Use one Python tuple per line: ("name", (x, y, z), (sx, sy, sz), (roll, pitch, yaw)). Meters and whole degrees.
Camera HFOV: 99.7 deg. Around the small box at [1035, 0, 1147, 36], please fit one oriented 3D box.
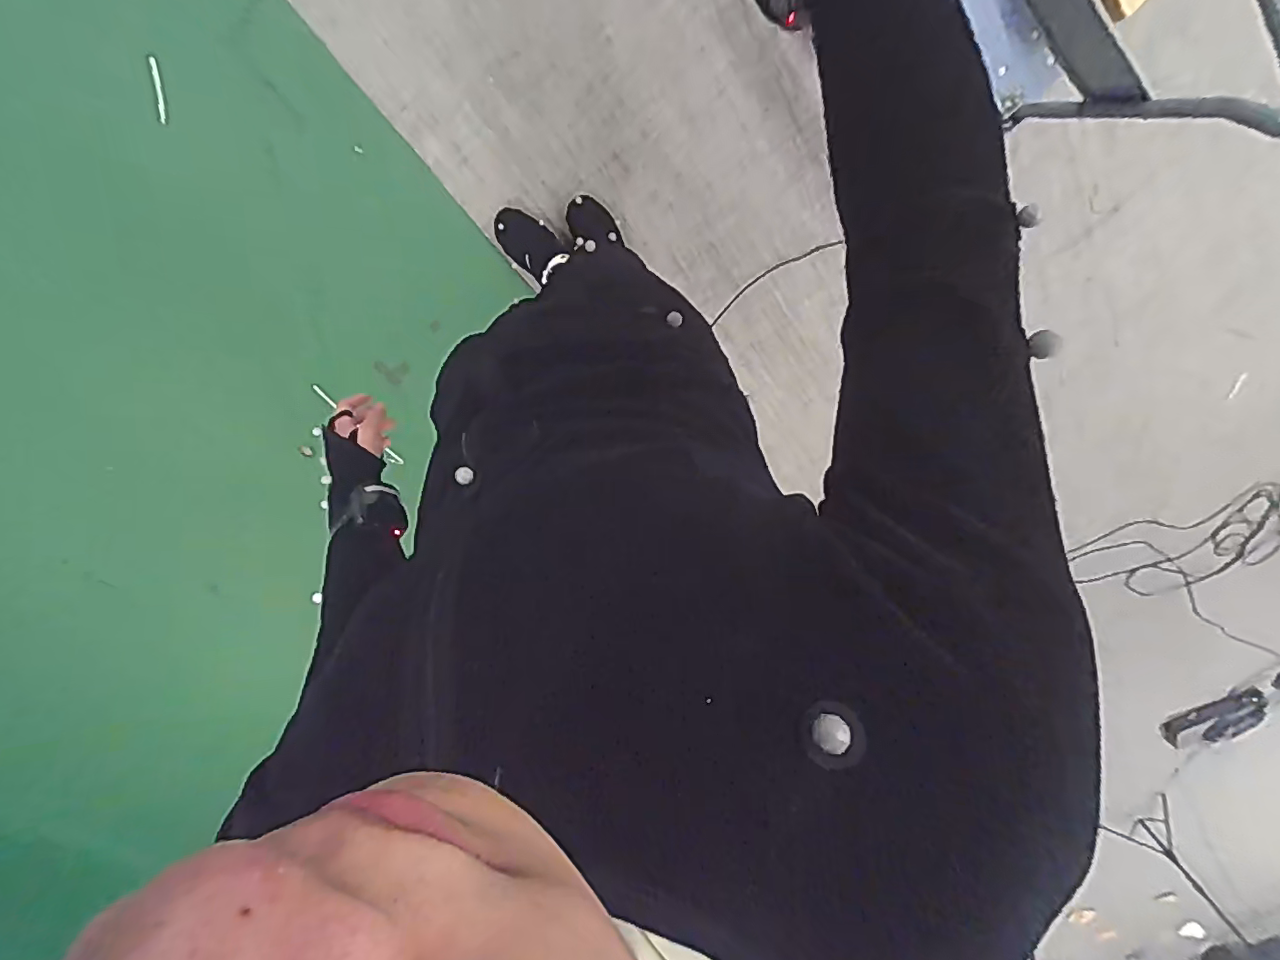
("small box", (0.868, -0.975, 0.994), (0.168, 0.176, 0.179), (35, 112, -24))
